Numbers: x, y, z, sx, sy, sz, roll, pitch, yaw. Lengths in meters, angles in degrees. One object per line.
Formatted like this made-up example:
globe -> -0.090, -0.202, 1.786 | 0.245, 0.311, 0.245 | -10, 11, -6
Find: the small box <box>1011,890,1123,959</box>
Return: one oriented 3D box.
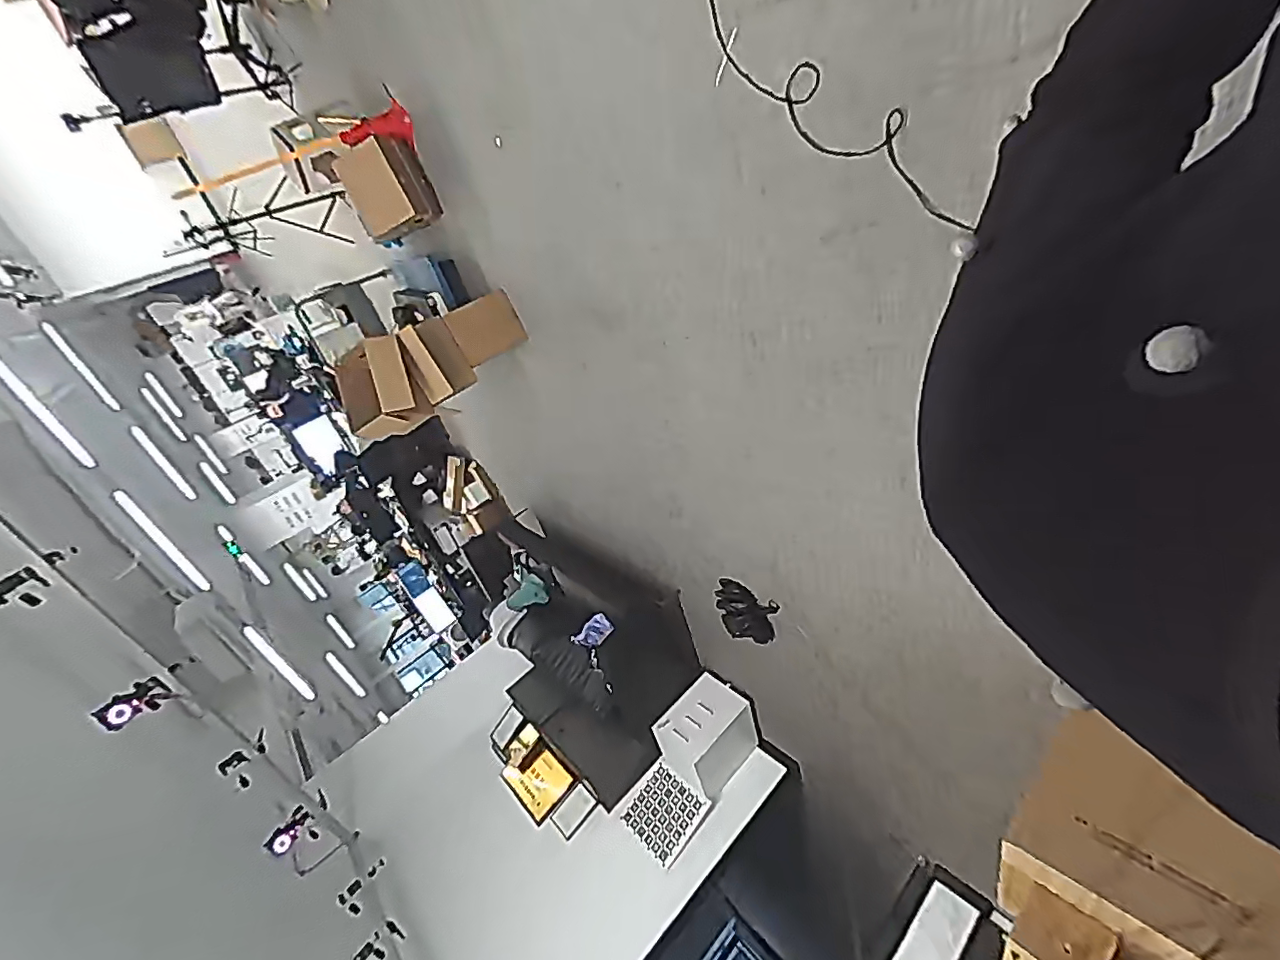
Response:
small box -> 1.033, 1.162, 1.313 | 0.179, 0.176, 0.168 | 19, 133, 47
